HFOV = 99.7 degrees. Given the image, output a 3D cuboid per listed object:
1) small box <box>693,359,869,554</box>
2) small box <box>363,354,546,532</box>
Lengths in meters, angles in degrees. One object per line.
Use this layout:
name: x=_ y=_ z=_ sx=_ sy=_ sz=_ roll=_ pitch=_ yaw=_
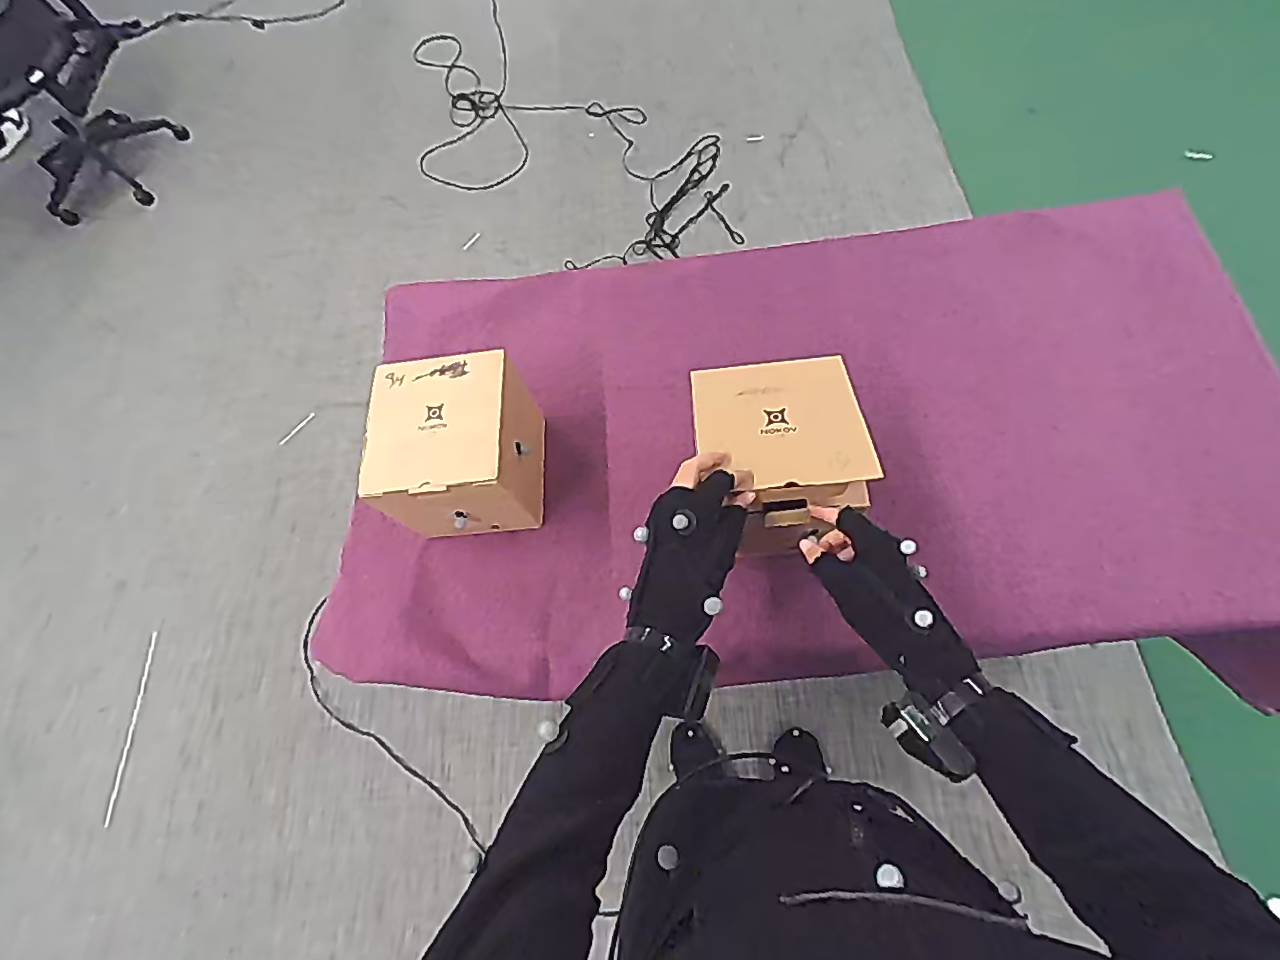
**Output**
small box: x=0.152 y=-0.015 z=0.635 sx=0.168 sy=0.176 sz=0.179 roll=-4 pitch=67 yaw=6
small box: x=-0.223 y=-0.036 z=0.699 sx=0.168 sy=0.176 sz=0.179 roll=-6 pitch=67 yaw=6
